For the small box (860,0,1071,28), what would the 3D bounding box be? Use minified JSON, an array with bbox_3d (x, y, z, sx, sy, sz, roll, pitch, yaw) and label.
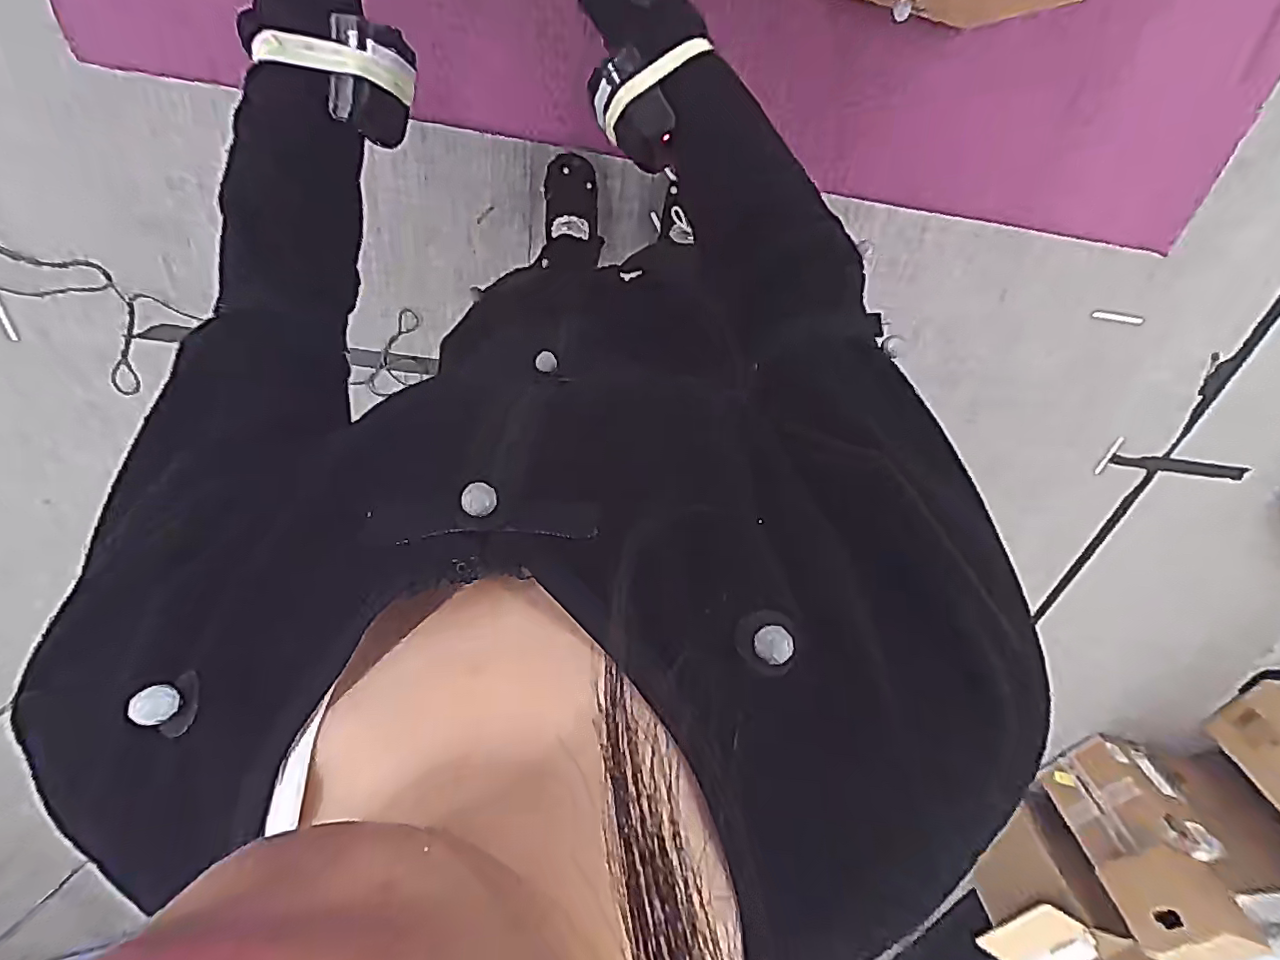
[{"bbox_3d":[0.260,-0.486,0.414,0.168,0.176,0.179,9,123,-9],"label":"small box"}]
